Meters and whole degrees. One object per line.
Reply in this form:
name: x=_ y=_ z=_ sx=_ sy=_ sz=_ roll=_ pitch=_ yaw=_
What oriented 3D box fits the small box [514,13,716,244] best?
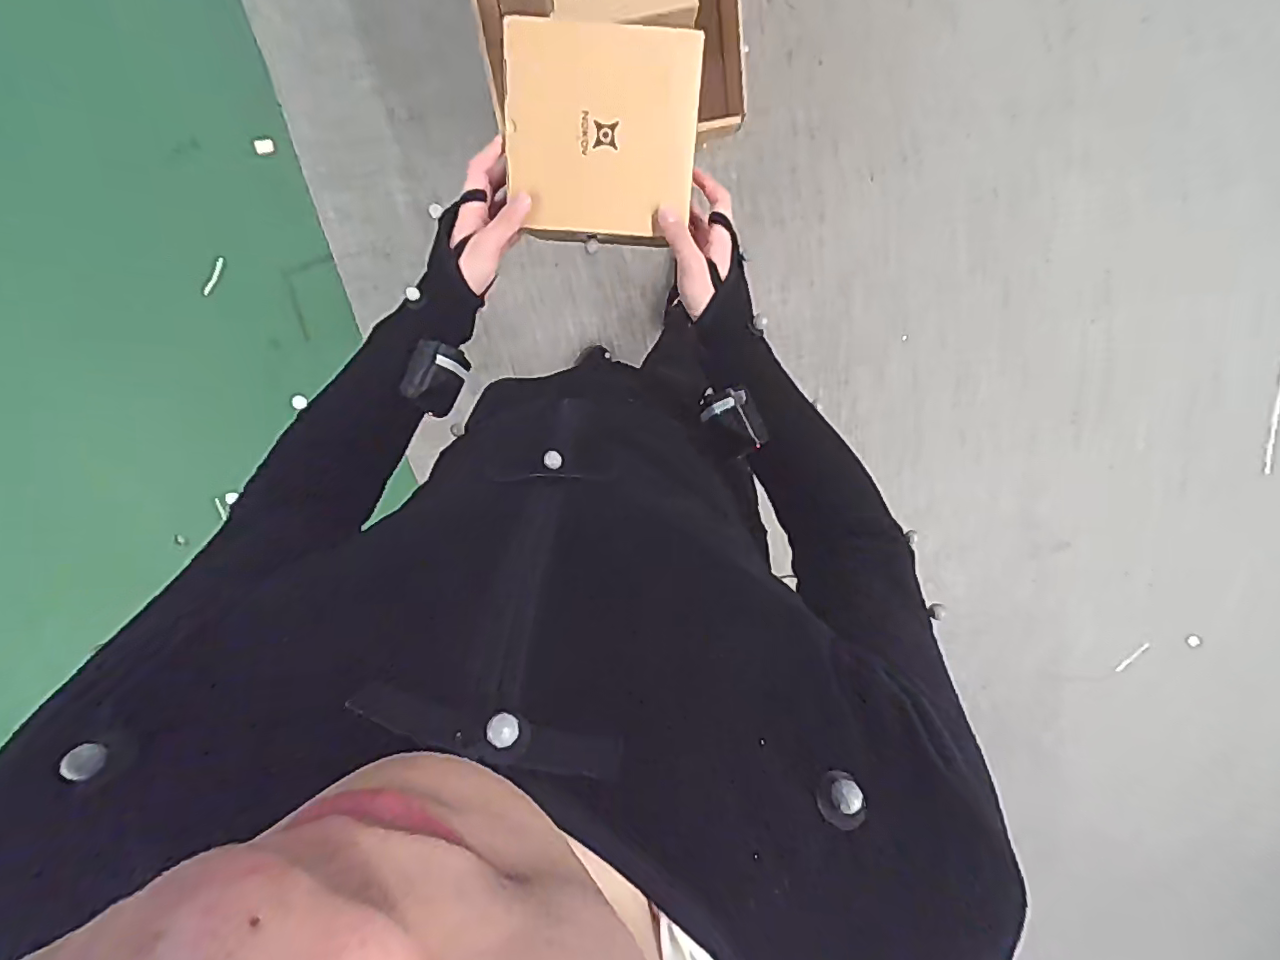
small box: x=-0.027 y=-0.343 z=0.563 sx=0.179 sy=0.176 sz=0.168 roll=3 pitch=111 yaw=-1
